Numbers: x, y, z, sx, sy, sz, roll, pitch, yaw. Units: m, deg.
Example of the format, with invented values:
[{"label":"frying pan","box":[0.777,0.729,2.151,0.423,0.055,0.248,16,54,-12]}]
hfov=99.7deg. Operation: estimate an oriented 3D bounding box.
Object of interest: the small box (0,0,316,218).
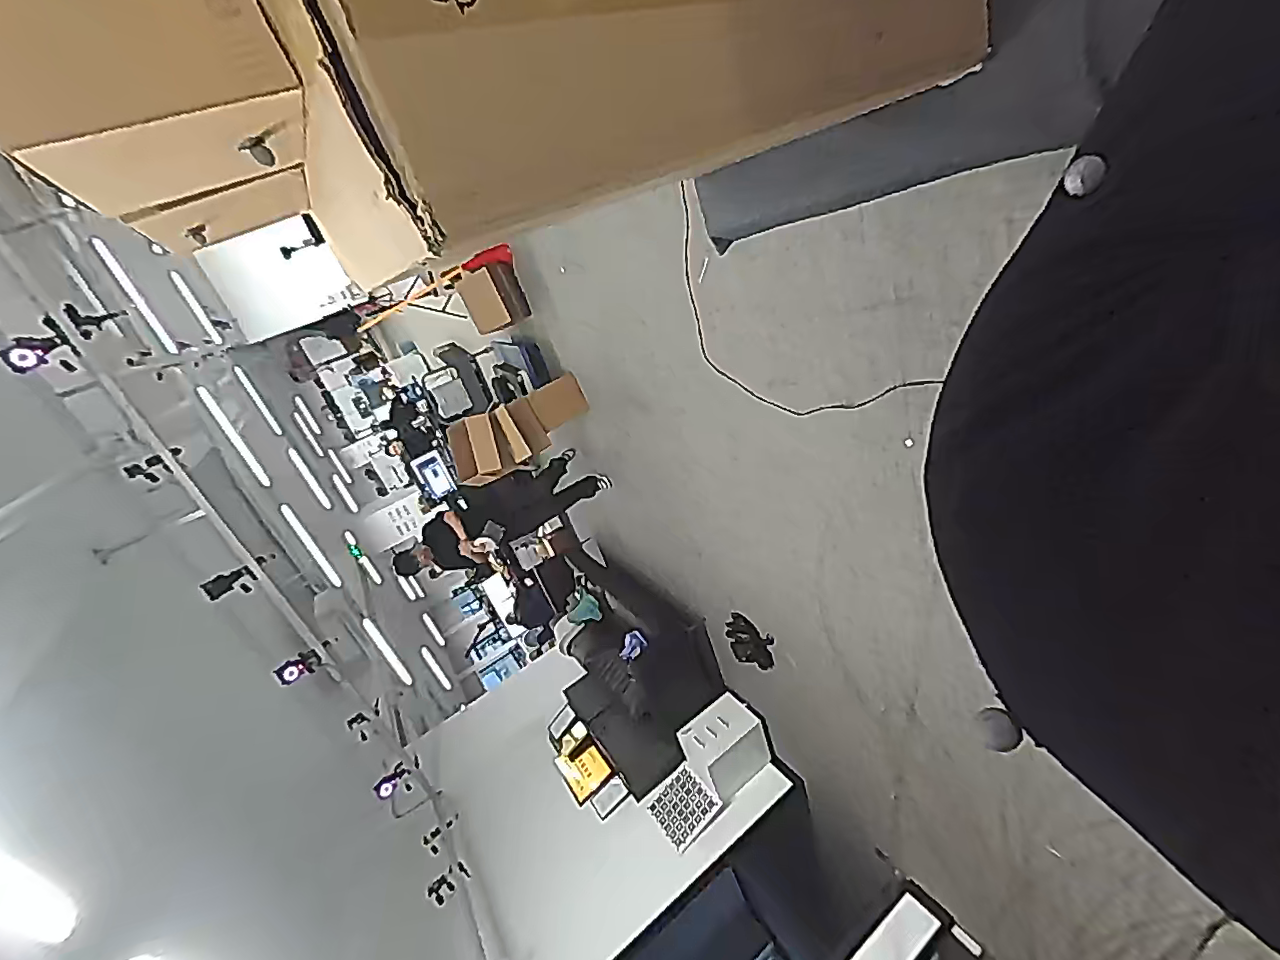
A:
[{"label":"small box","box":[-0.348,-0.306,0.368,0.179,0.176,0.168,20,137,57]}]

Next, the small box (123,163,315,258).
[{"label":"small box","box":[-0.461,-0.352,0.554,0.179,0.176,0.168,18,138,59]}]
